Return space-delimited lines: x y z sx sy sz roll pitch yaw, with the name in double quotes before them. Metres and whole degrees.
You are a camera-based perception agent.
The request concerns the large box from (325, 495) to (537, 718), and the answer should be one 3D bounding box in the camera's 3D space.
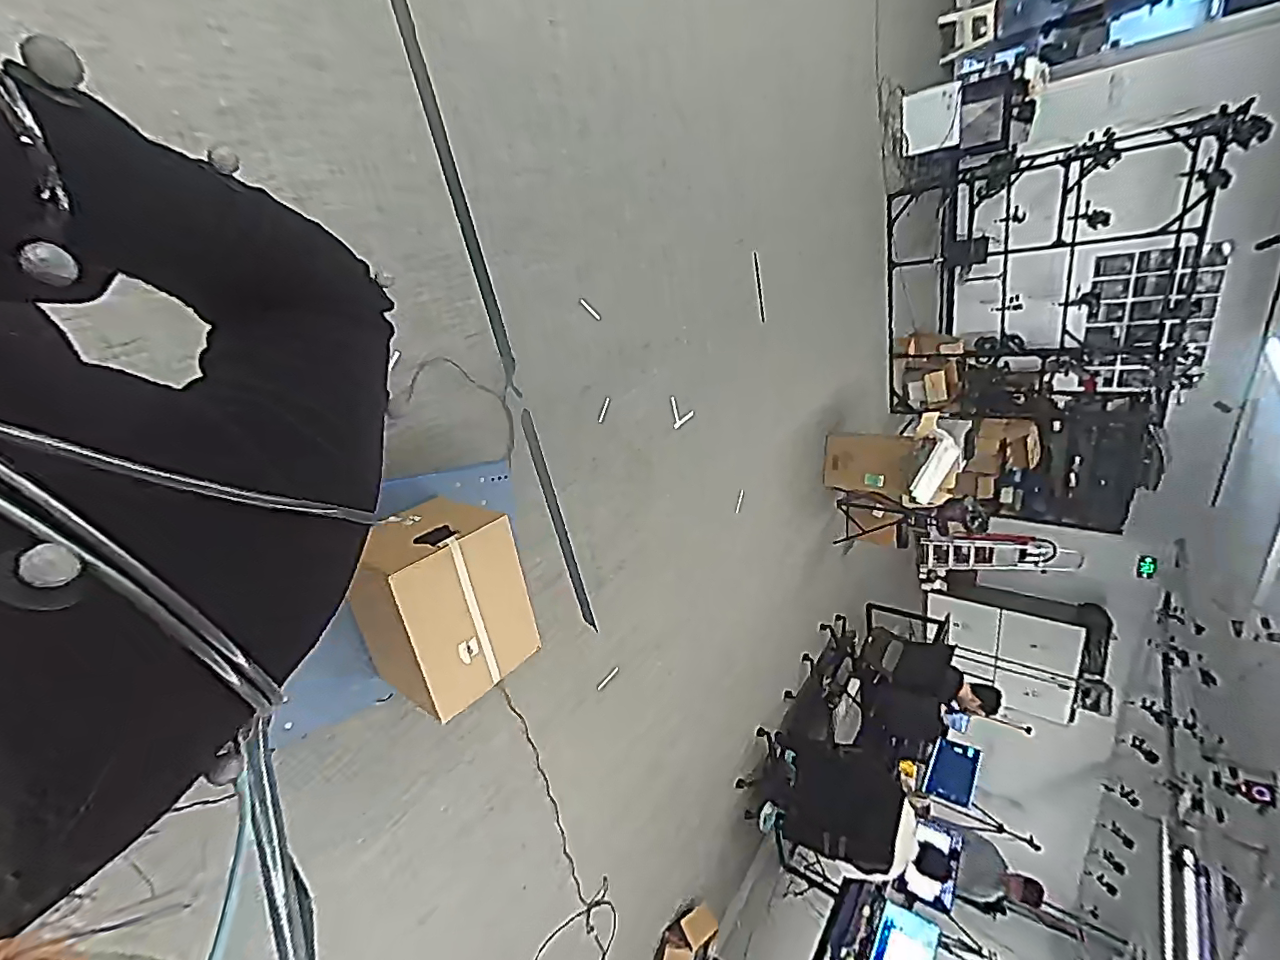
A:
"large box" -0.513 0.293 1.360 0.320 0.320 0.408 -31 120 -43
